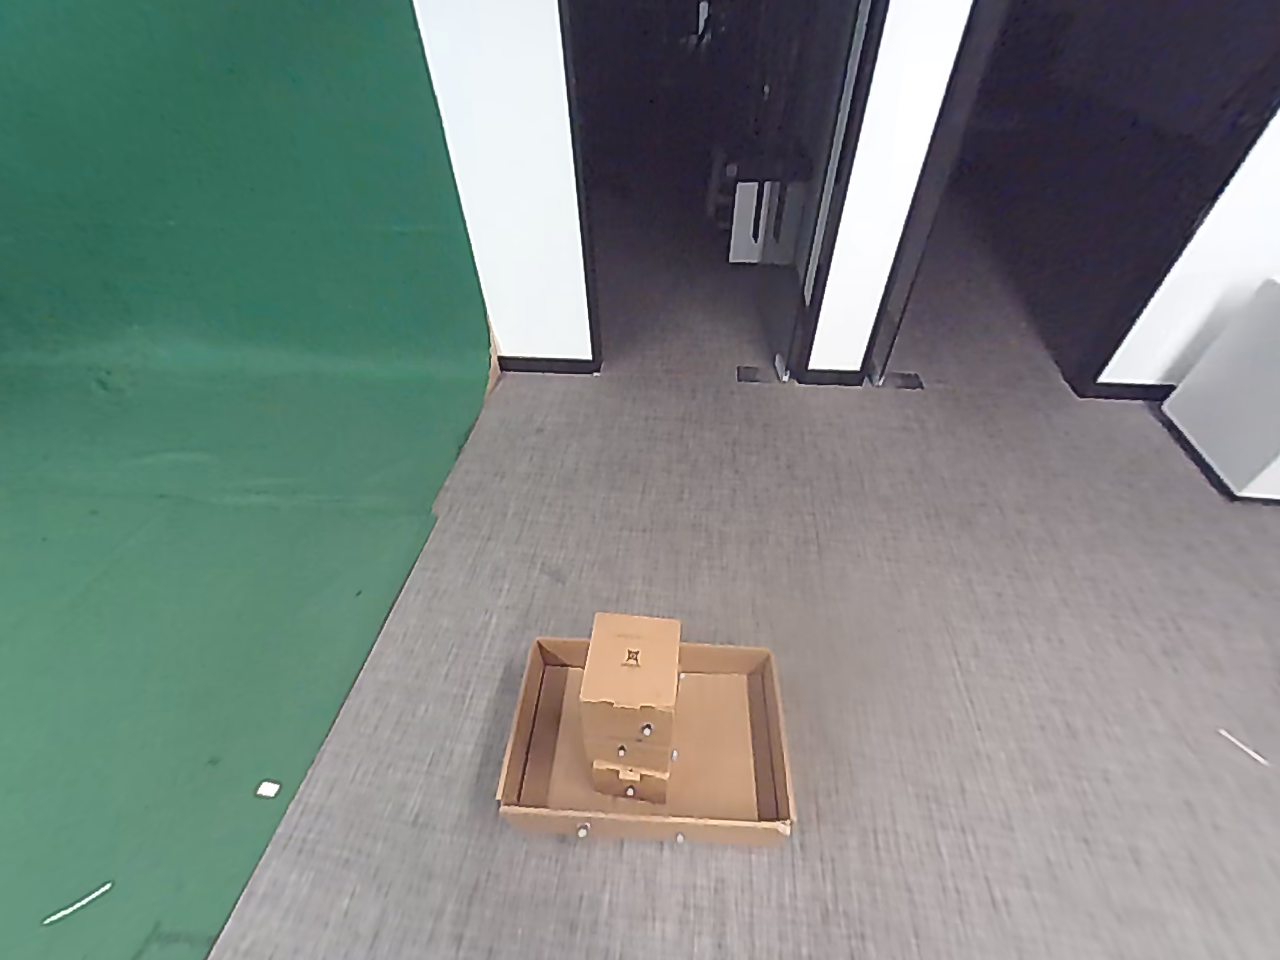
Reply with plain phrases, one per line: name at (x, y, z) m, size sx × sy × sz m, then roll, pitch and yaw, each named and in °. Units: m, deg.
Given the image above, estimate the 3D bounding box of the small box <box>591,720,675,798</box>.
small box at (-0.009, 0.610, 1.251) m, size 0.168 × 0.176 × 0.179 m, roll 7°, pitch 45°, yaw 7°

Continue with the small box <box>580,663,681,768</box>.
small box at (-0.013, 0.485, 1.144) m, size 0.179 × 0.176 × 0.168 m, roll 7°, pitch 44°, yaw 10°

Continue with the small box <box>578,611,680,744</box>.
small box at (-0.016, 0.376, 1.024) m, size 0.168 × 0.176 × 0.179 m, roll 5°, pitch 43°, yaw 4°
